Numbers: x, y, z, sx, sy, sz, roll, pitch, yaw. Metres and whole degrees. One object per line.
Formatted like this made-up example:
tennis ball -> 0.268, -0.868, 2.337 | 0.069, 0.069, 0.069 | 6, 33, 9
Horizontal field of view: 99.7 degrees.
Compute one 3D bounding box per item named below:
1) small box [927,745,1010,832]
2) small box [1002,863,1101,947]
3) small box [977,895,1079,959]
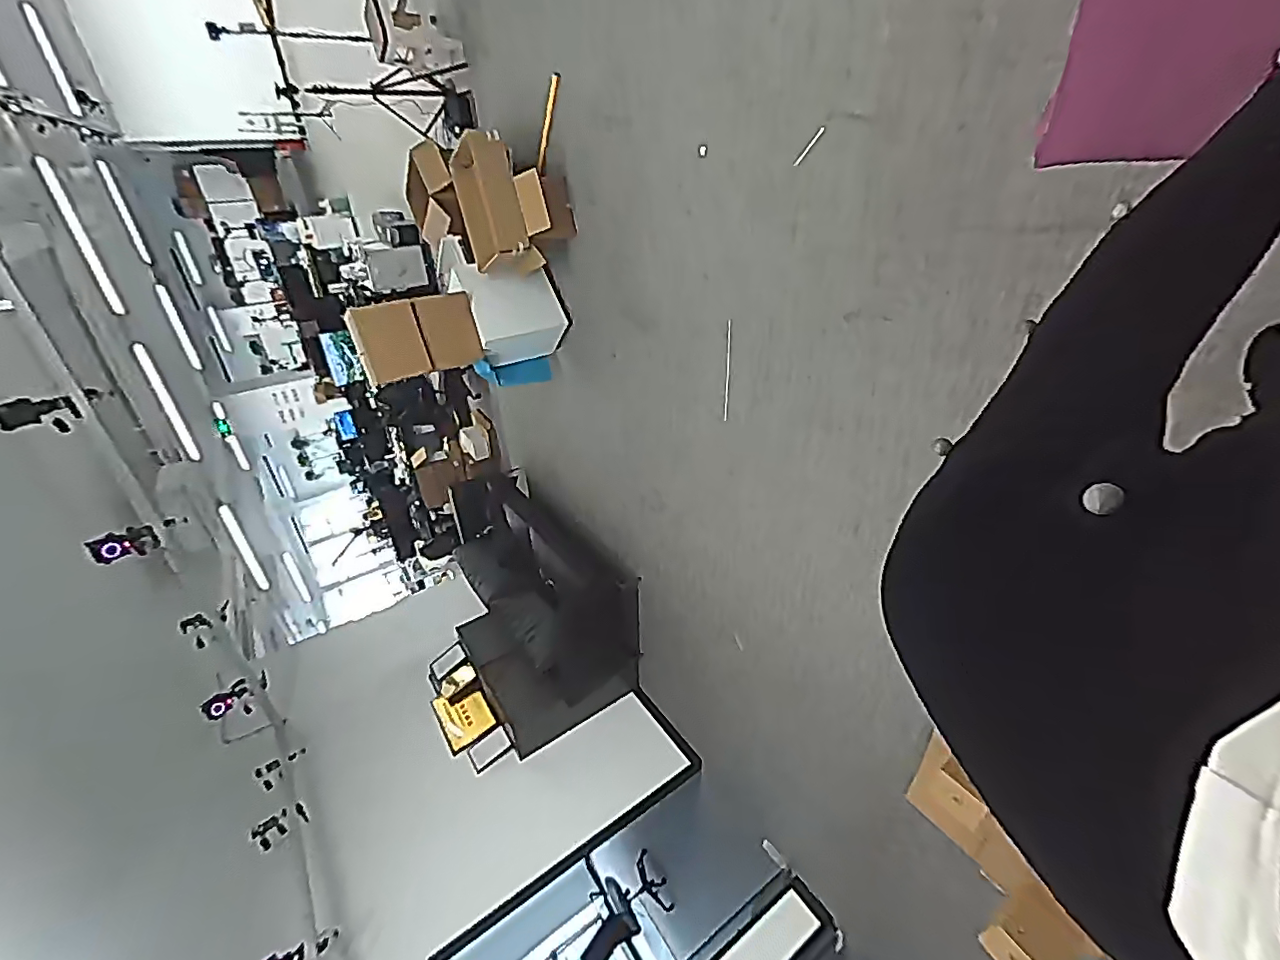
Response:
small box -> 1.171, 1.091, 1.923 | 0.179, 0.176, 0.168 | 37, 138, 43
small box -> 1.370, 1.422, 1.801 | 0.179, 0.176, 0.168 | 44, 143, 38
small box -> 1.233, 1.468, 1.720 | 0.179, 0.176, 0.168 | 43, 143, 38
